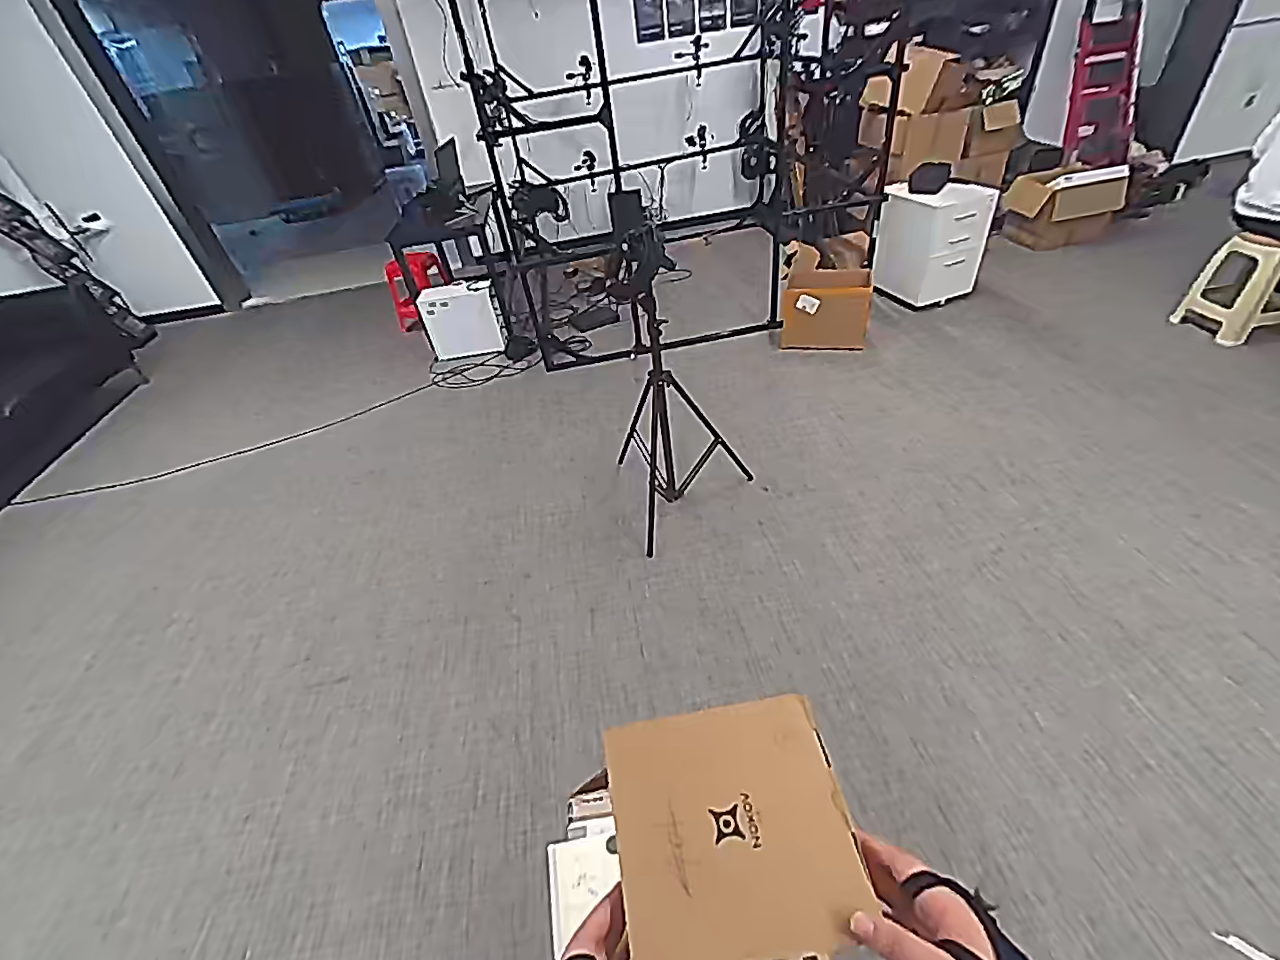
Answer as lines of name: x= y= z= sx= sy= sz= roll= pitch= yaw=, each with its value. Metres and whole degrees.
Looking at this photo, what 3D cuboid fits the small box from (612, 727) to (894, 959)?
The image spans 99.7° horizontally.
small box: x=0.078 y=0.334 z=0.465 sx=0.179 sy=0.176 sz=0.168 roll=-10 pitch=51 yaw=-4
